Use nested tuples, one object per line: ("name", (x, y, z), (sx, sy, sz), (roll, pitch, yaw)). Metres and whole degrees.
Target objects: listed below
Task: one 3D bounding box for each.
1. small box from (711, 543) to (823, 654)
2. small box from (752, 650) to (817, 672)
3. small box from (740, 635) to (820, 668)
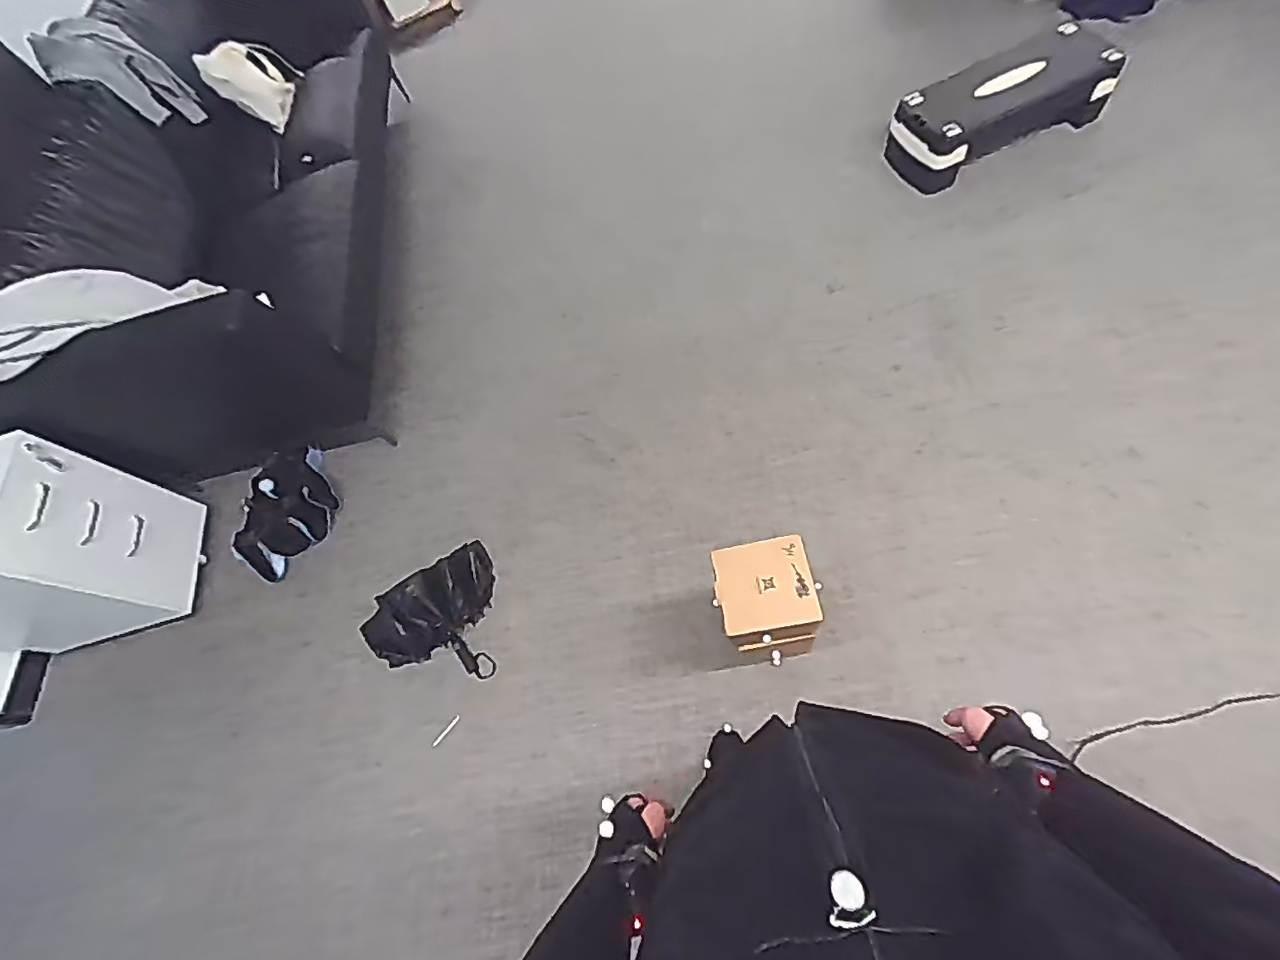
("small box", (0.250, 0.241, 1.068), (0.179, 0.176, 0.168), (-13, 64, 9))
("small box", (0.333, 0.372, 1.358), (0.168, 0.176, 0.179), (-15, 64, 7))
("small box", (0.291, 0.310, 1.211), (0.168, 0.176, 0.179), (-14, 63, 8))
